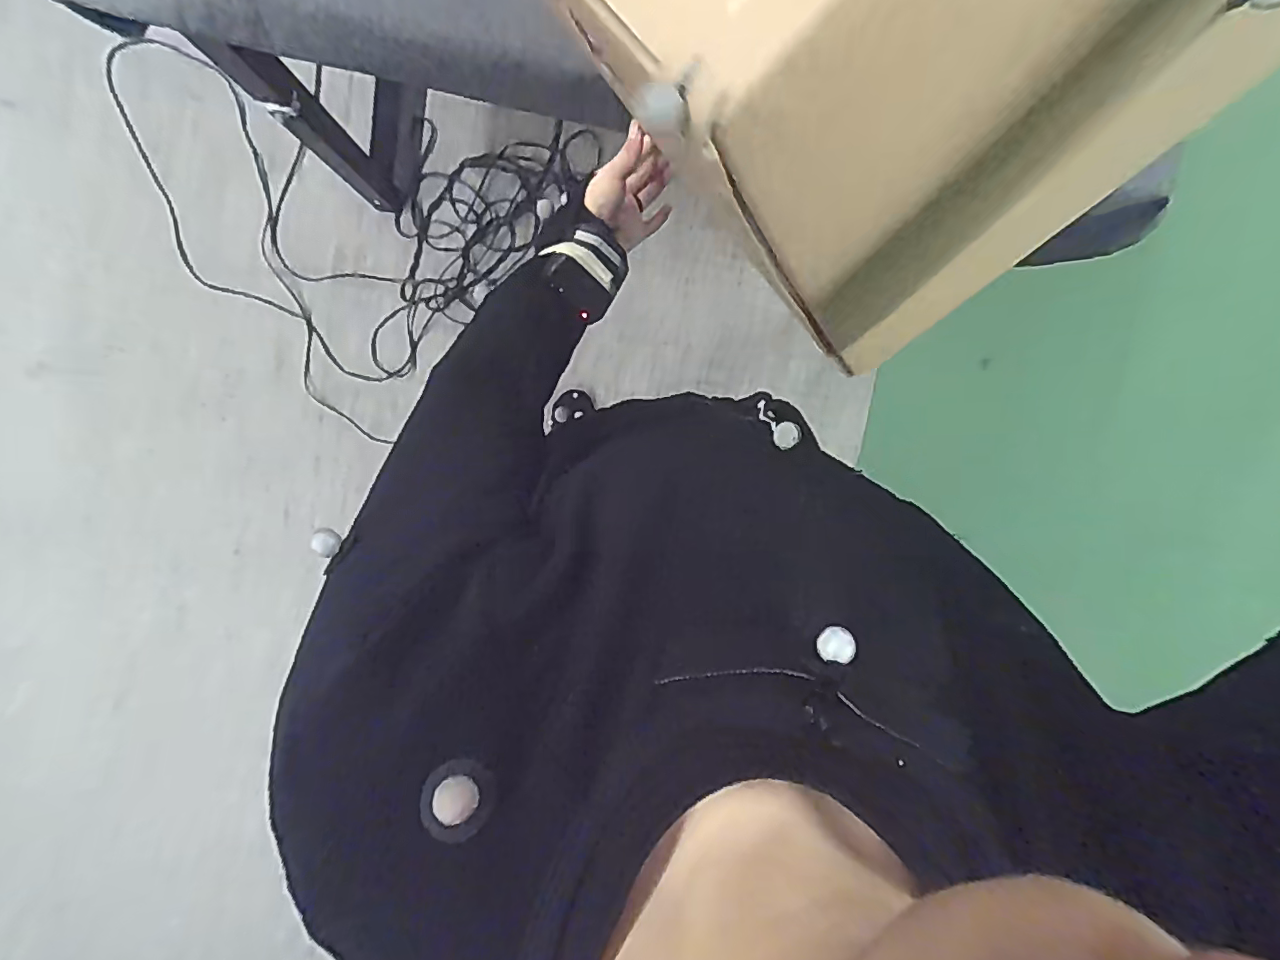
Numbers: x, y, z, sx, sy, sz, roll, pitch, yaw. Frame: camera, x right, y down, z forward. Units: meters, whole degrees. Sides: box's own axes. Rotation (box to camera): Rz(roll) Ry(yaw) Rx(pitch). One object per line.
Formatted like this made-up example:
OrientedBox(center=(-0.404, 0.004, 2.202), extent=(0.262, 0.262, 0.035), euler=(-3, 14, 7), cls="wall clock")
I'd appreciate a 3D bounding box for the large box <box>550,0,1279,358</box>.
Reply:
OrientedBox(center=(0.170, -0.334, 0.270), extent=(0.408, 0.320, 0.320), euler=(-41, 69, 22), cls="large box")
